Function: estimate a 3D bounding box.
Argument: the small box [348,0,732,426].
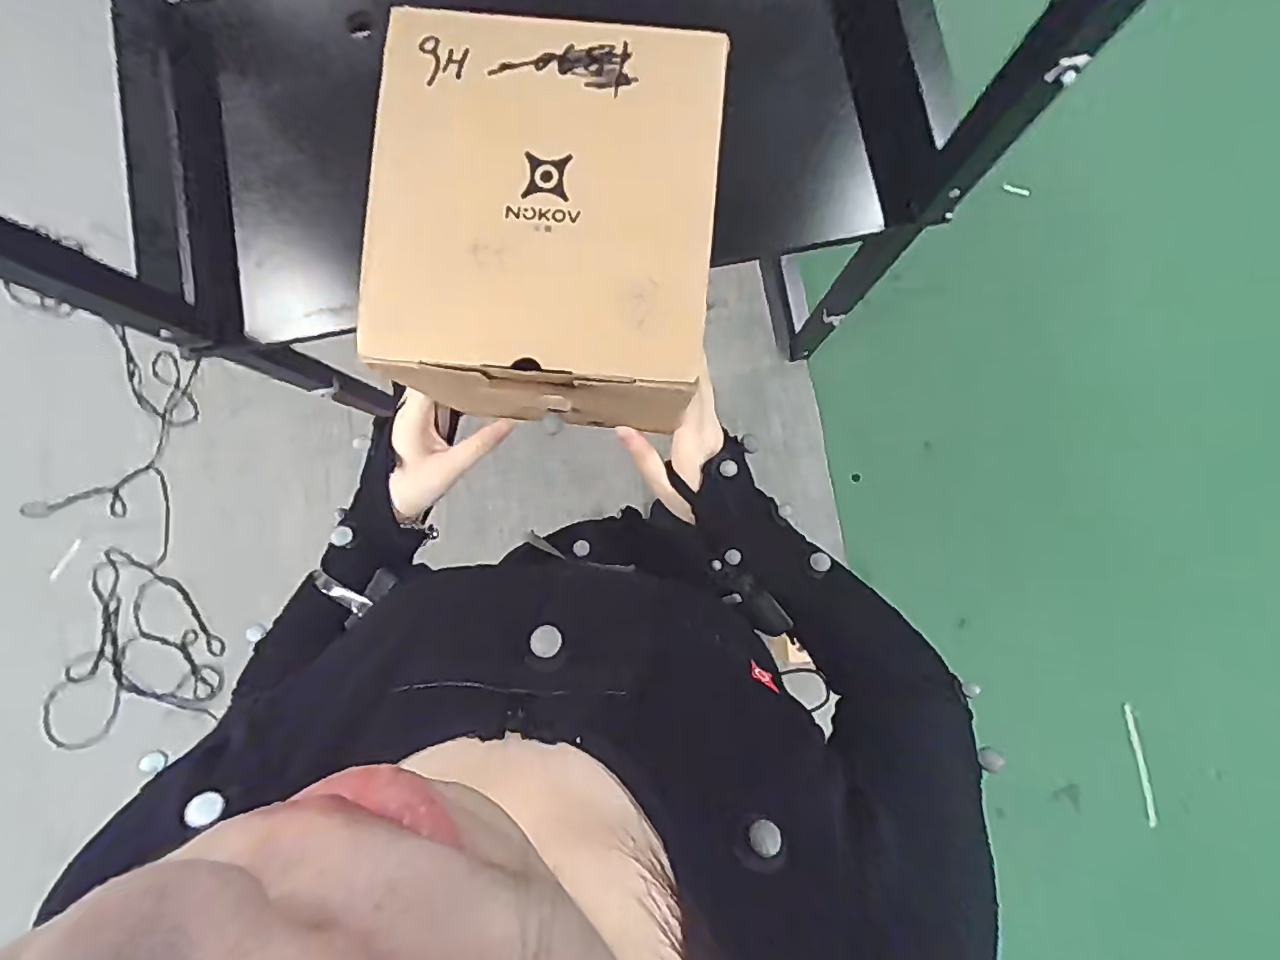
[{"bbox_3d":[-0.044,-0.133,0.330,0.168,0.176,0.179,5,87,1],"label":"small box"}]
